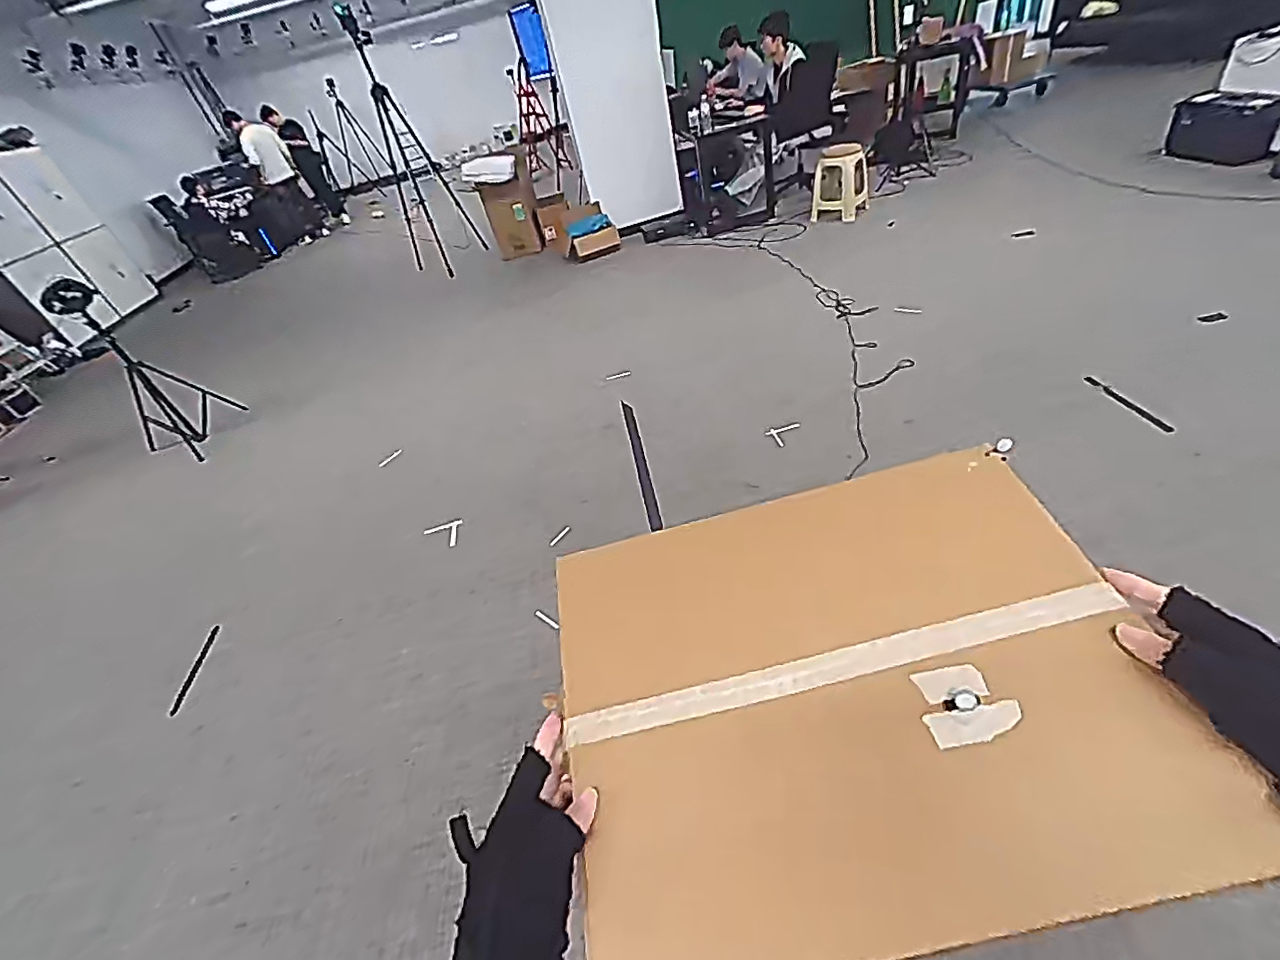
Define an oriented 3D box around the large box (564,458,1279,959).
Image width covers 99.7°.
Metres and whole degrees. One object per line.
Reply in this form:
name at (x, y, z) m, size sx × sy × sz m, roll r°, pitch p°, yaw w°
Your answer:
large box at (0.172, 0.236, 0.516) m, size 0.408 × 0.320 × 0.320 m, roll -15°, pitch 49°, yaw 2°
